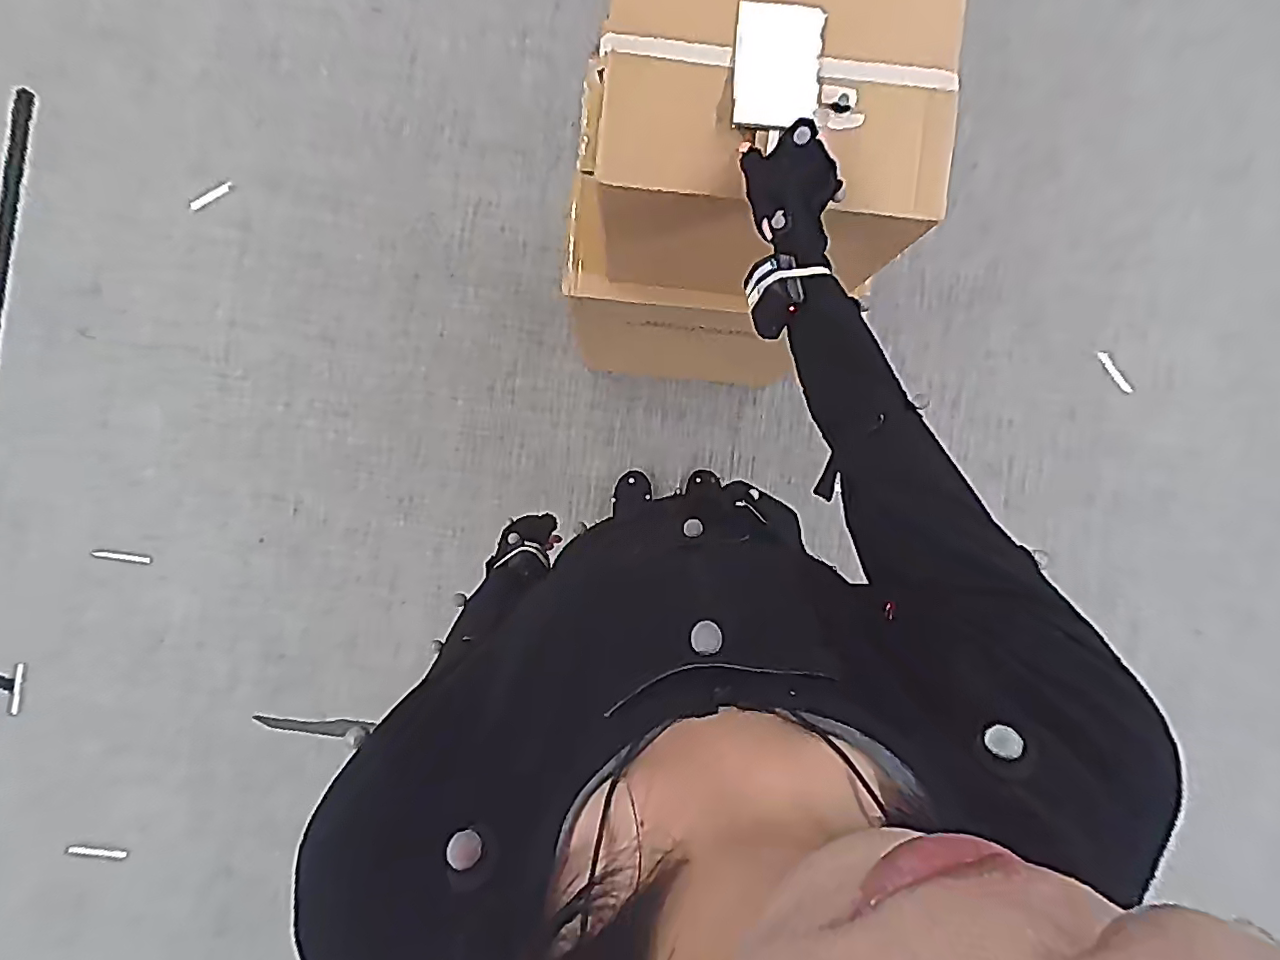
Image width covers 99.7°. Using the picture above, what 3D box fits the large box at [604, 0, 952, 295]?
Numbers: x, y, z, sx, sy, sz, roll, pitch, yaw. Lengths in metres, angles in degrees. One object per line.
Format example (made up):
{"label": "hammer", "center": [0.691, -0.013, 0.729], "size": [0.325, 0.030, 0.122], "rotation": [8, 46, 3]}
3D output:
{"label": "large box", "center": [0.156, -0.482, 0.780], "size": [0.408, 0.320, 0.320], "rotation": [5, 91, -3]}
